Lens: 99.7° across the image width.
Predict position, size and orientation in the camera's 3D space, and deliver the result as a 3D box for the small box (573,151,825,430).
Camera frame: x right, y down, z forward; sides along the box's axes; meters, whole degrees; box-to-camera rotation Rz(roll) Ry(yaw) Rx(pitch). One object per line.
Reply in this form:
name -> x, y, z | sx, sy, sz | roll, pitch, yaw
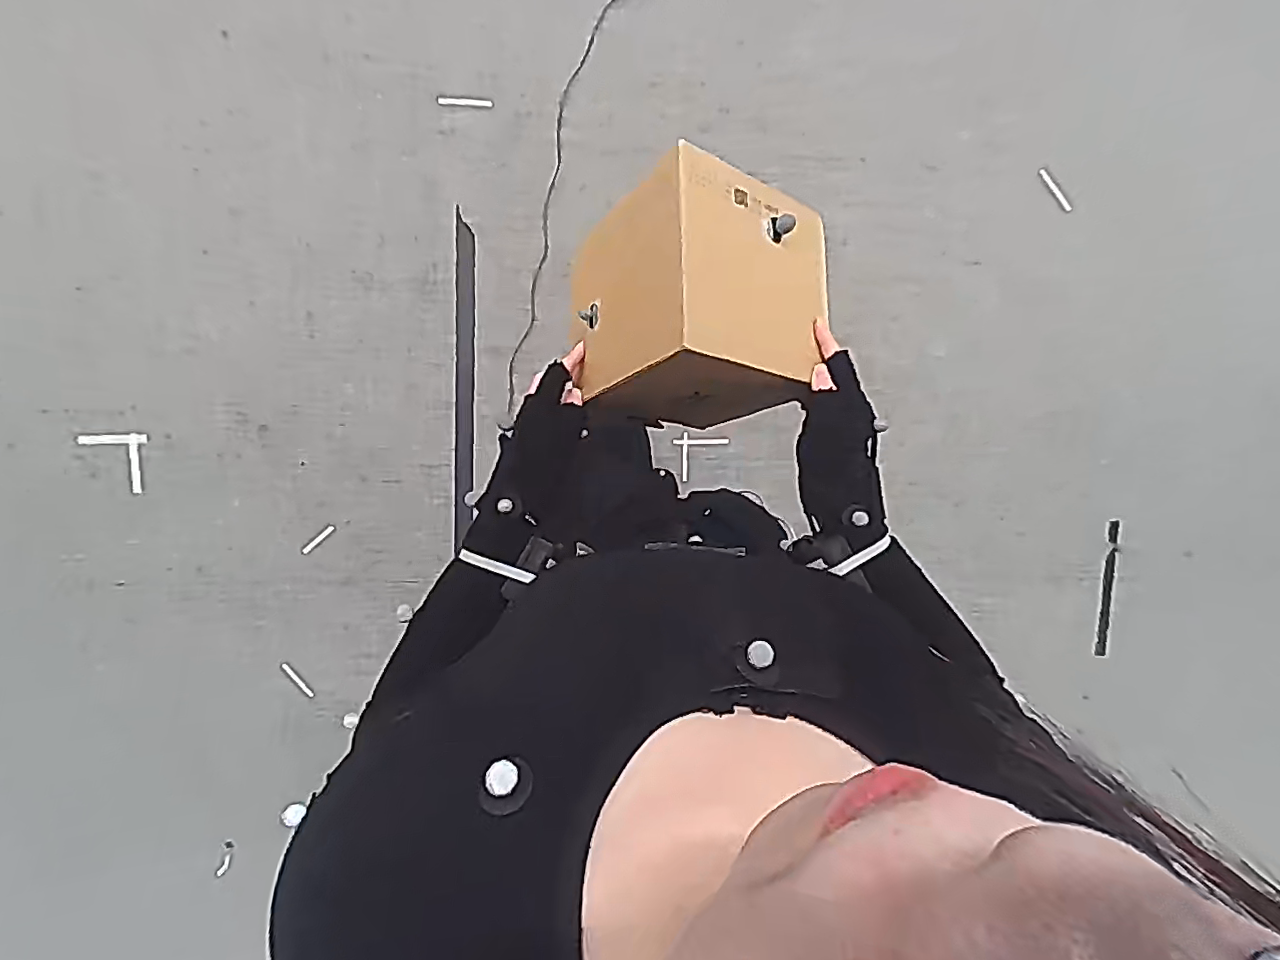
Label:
small box -> 0.050, -0.156, 0.507 | 0.168, 0.179, 0.176 | 5, 79, -34
